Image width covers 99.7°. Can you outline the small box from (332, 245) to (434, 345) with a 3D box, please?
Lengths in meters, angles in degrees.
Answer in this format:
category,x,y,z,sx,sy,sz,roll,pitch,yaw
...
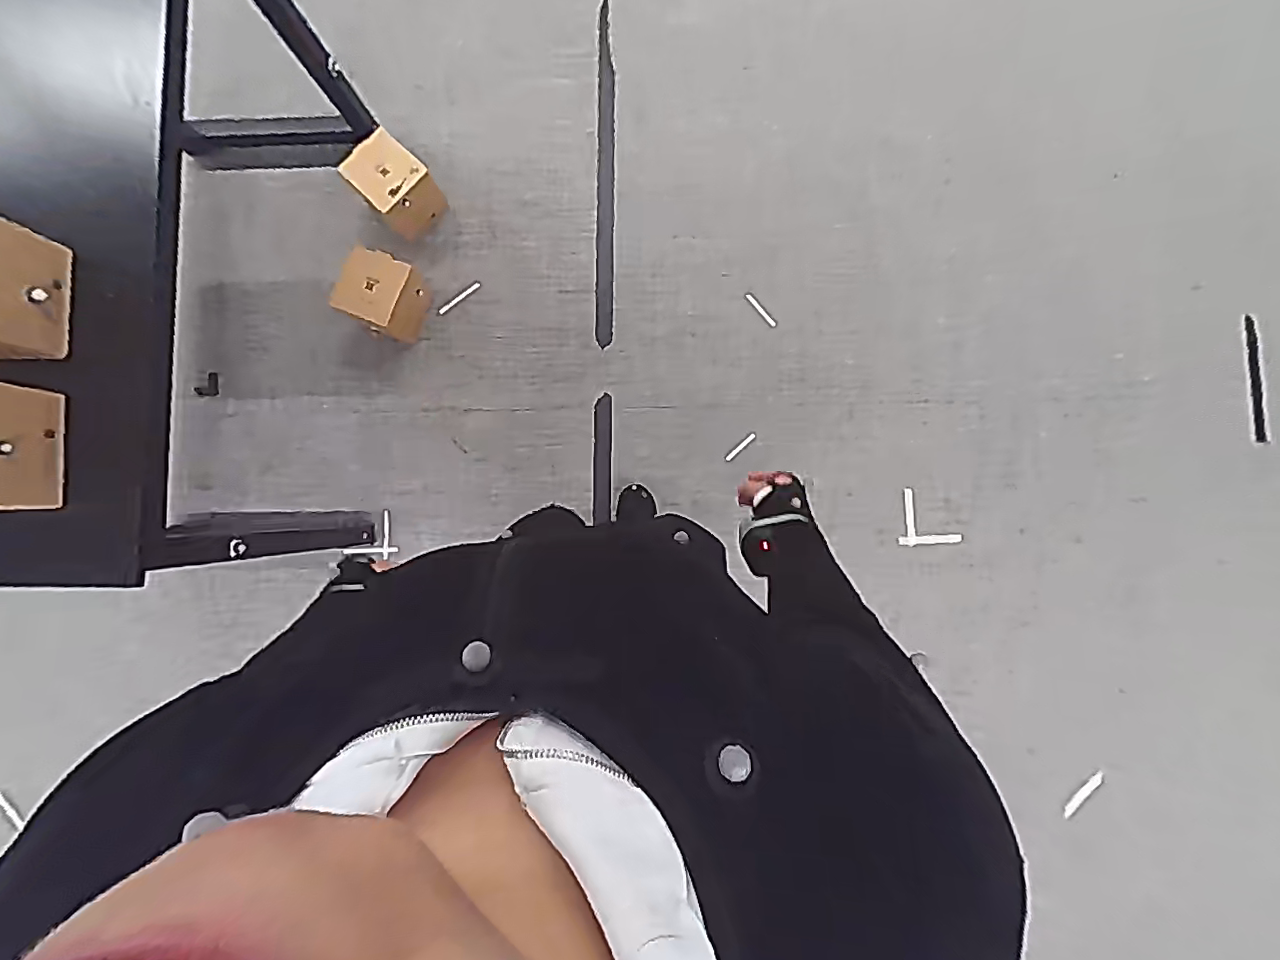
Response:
category,x,y,z,sx,sy,sz,roll,pitch,yaw
small box,-0.683,-0.493,1.464,0.168,0.176,0.179,21,88,2

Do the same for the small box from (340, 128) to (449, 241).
category,x,y,z,sx,sy,sz,roll,pitch,yaw
small box,-0.660,-0.795,1.477,0.179,0.176,0.168,43,88,2

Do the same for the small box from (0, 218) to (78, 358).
category,x,y,z,sx,sy,sz,roll,pitch,yaw
small box,-0.926,-0.265,0.721,0.179,0.176,0.168,0,87,0
